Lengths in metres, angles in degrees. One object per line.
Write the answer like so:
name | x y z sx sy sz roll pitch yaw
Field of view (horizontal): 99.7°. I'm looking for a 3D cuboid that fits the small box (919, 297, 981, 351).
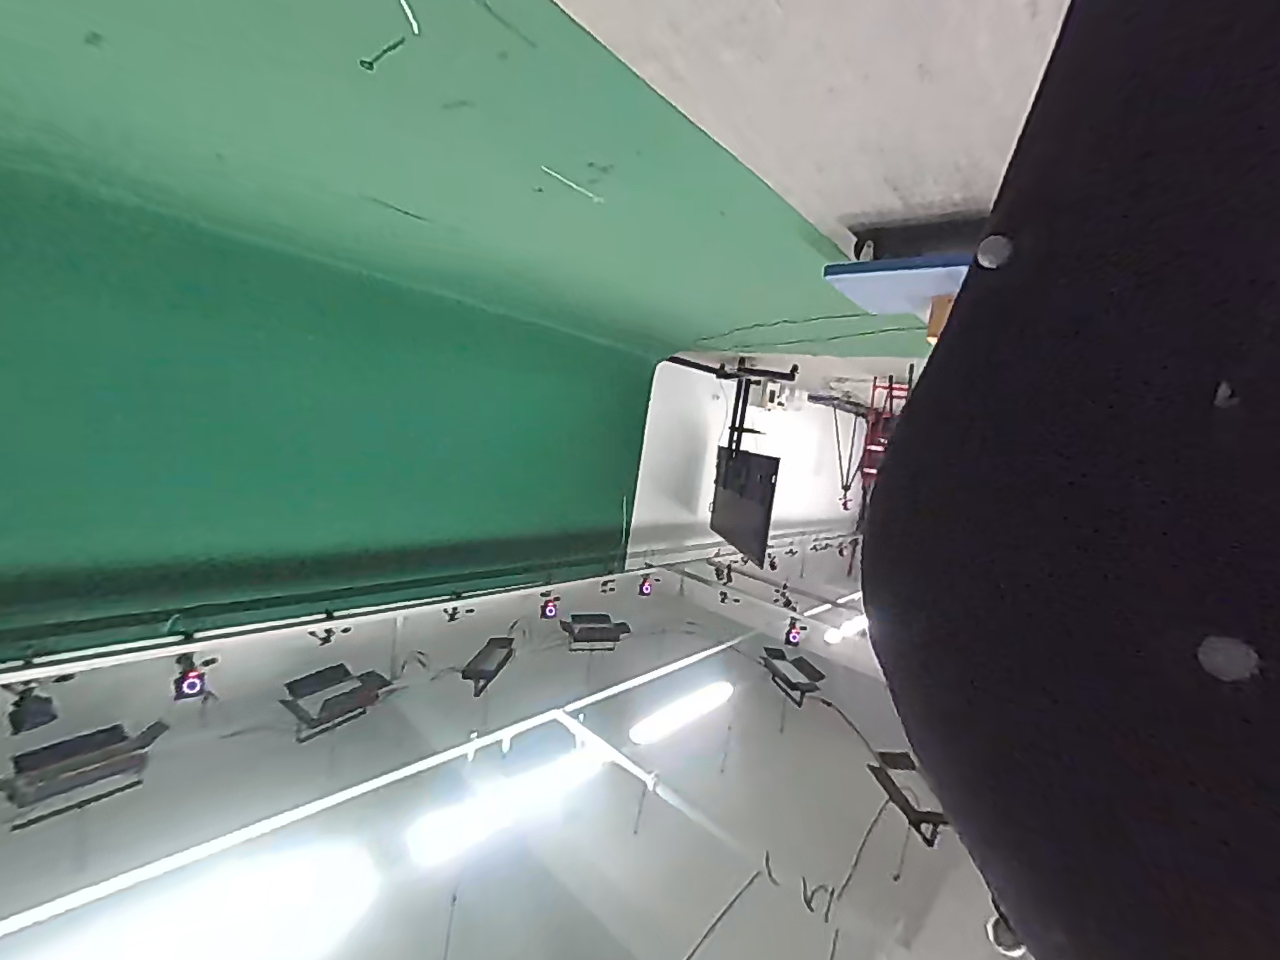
small box | 1.229 -0.616 2.137 0.168 0.176 0.179 14 -174 39
